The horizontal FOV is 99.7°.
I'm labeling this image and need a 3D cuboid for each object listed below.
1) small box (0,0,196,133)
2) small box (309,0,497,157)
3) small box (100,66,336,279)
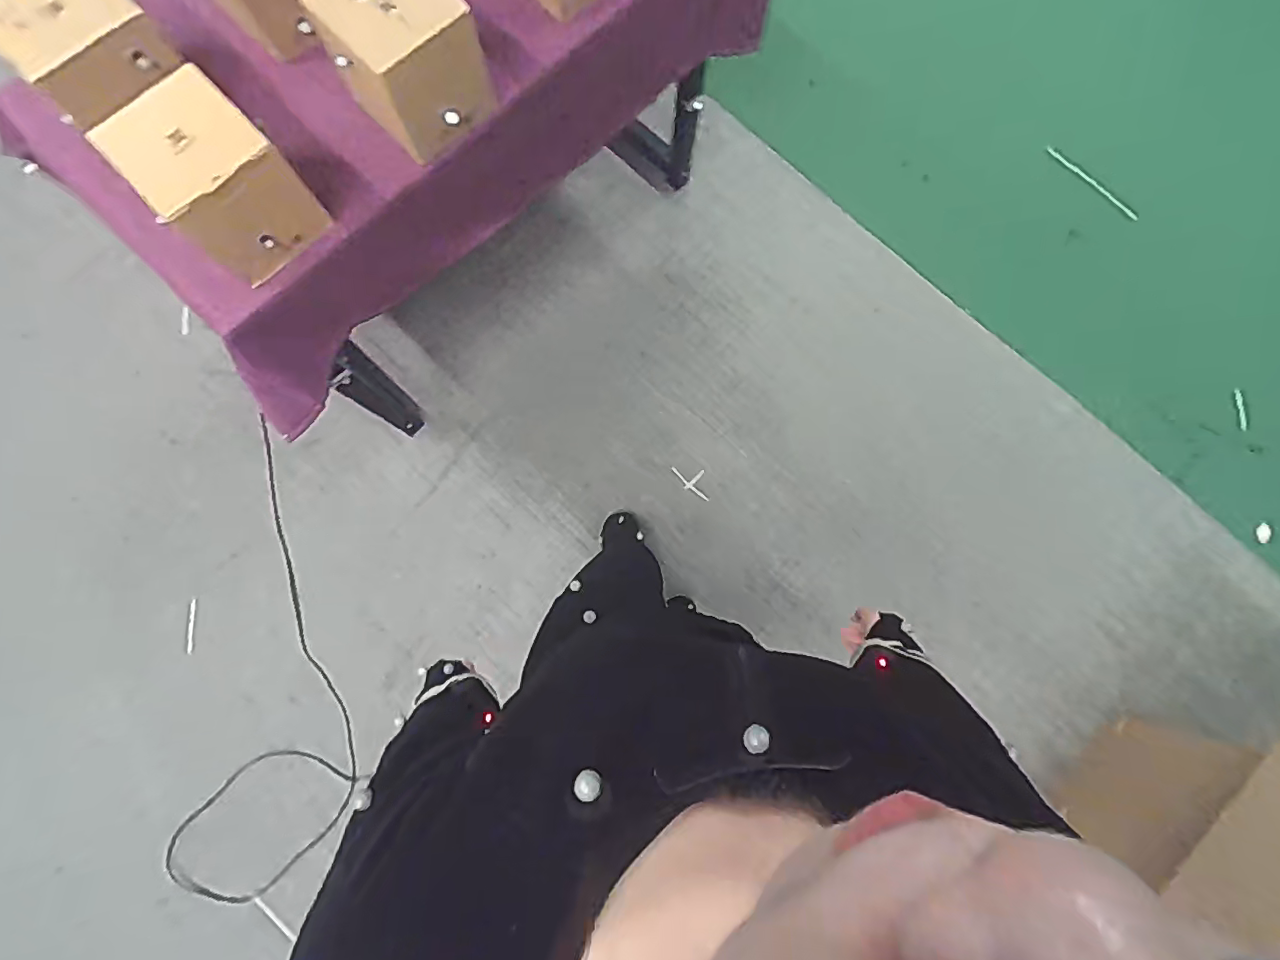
[{"bbox_3d":[-0.793,-0.629,0.824,0.179,0.176,0.168,-44,83,-8],"label":"small box"},{"bbox_3d":[-0.352,-0.653,0.835,0.168,0.176,0.179,-43,84,-7],"label":"small box"},{"bbox_3d":[-0.601,-0.438,0.795,0.168,0.176,0.179,-44,84,-8],"label":"small box"}]
